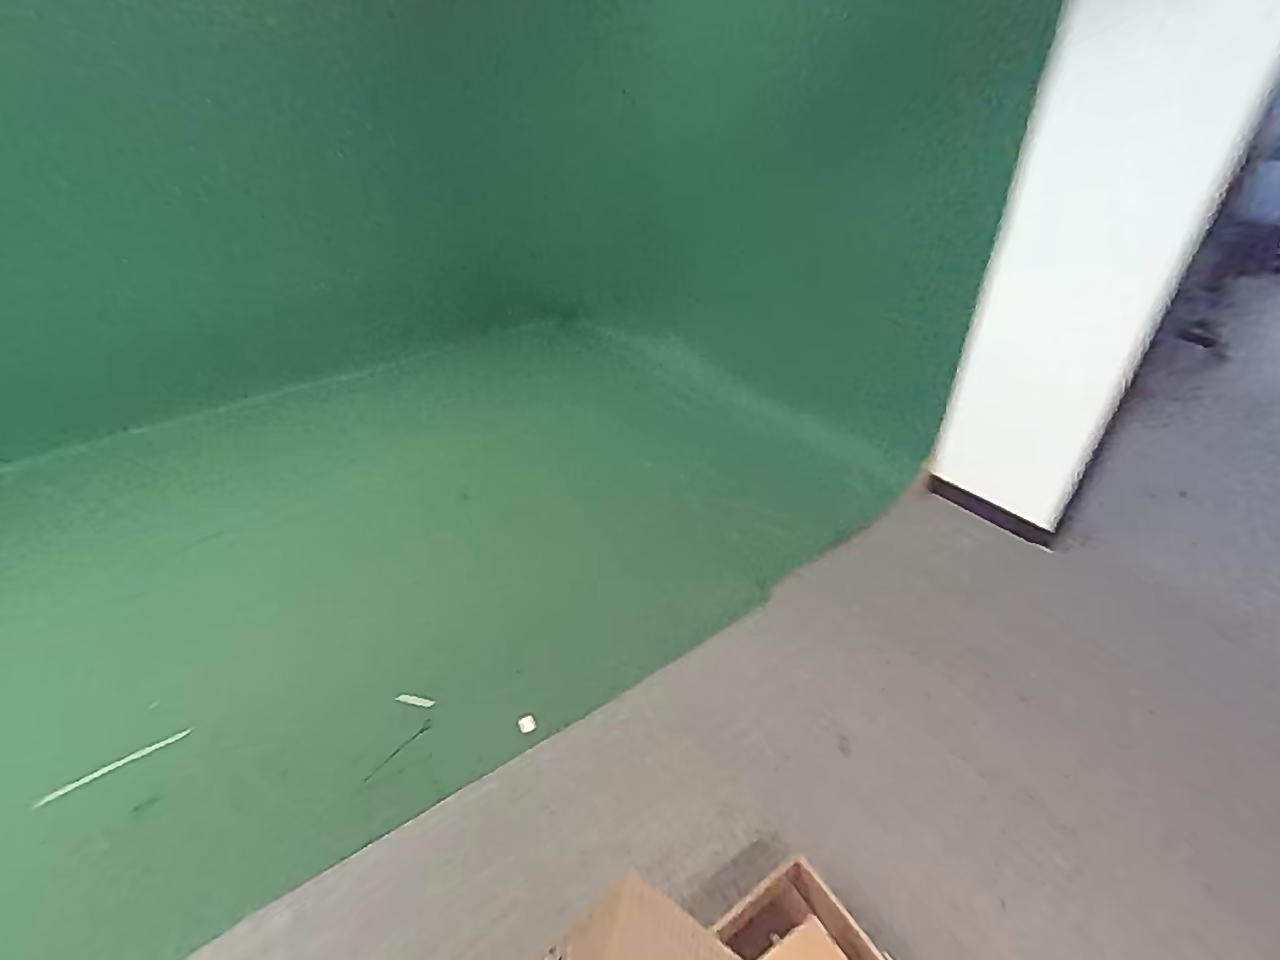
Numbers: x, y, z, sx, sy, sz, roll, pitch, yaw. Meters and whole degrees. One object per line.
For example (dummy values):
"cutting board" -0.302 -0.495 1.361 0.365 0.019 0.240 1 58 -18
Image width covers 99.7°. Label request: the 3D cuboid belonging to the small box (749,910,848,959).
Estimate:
"small box" 0.297 0.939 0.976 0.179 0.176 0.168 -21 41 -20
